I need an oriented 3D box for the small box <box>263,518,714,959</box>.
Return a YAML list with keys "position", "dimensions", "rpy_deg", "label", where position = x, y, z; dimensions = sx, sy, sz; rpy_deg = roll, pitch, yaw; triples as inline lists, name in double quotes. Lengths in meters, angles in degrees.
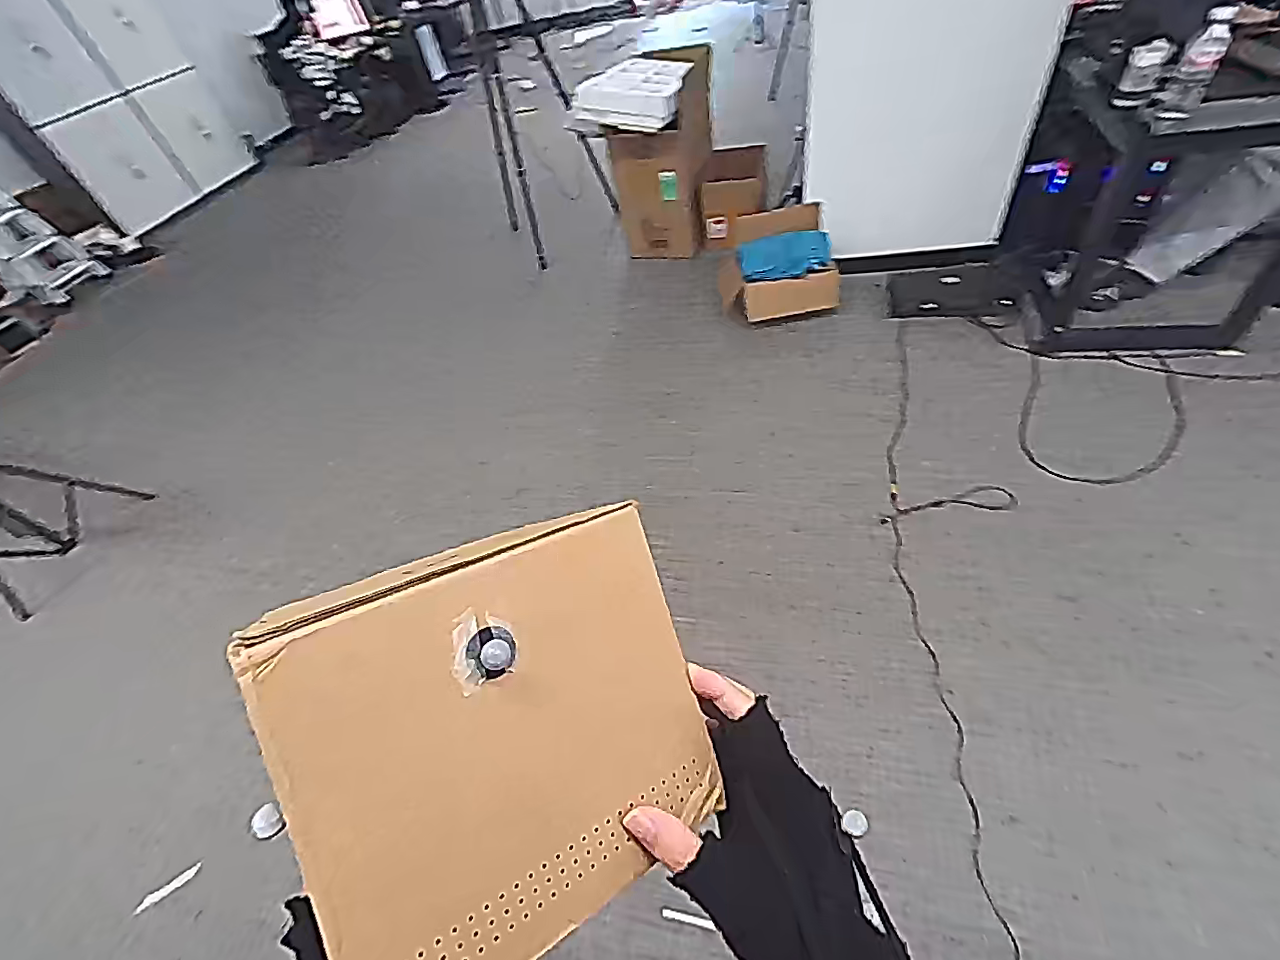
- position: [-0.086, 0.135, 0.316]
  dimensions: [0.179, 0.176, 0.168]
  rpy_deg: [-17, -1, -31]
  label: "small box"
